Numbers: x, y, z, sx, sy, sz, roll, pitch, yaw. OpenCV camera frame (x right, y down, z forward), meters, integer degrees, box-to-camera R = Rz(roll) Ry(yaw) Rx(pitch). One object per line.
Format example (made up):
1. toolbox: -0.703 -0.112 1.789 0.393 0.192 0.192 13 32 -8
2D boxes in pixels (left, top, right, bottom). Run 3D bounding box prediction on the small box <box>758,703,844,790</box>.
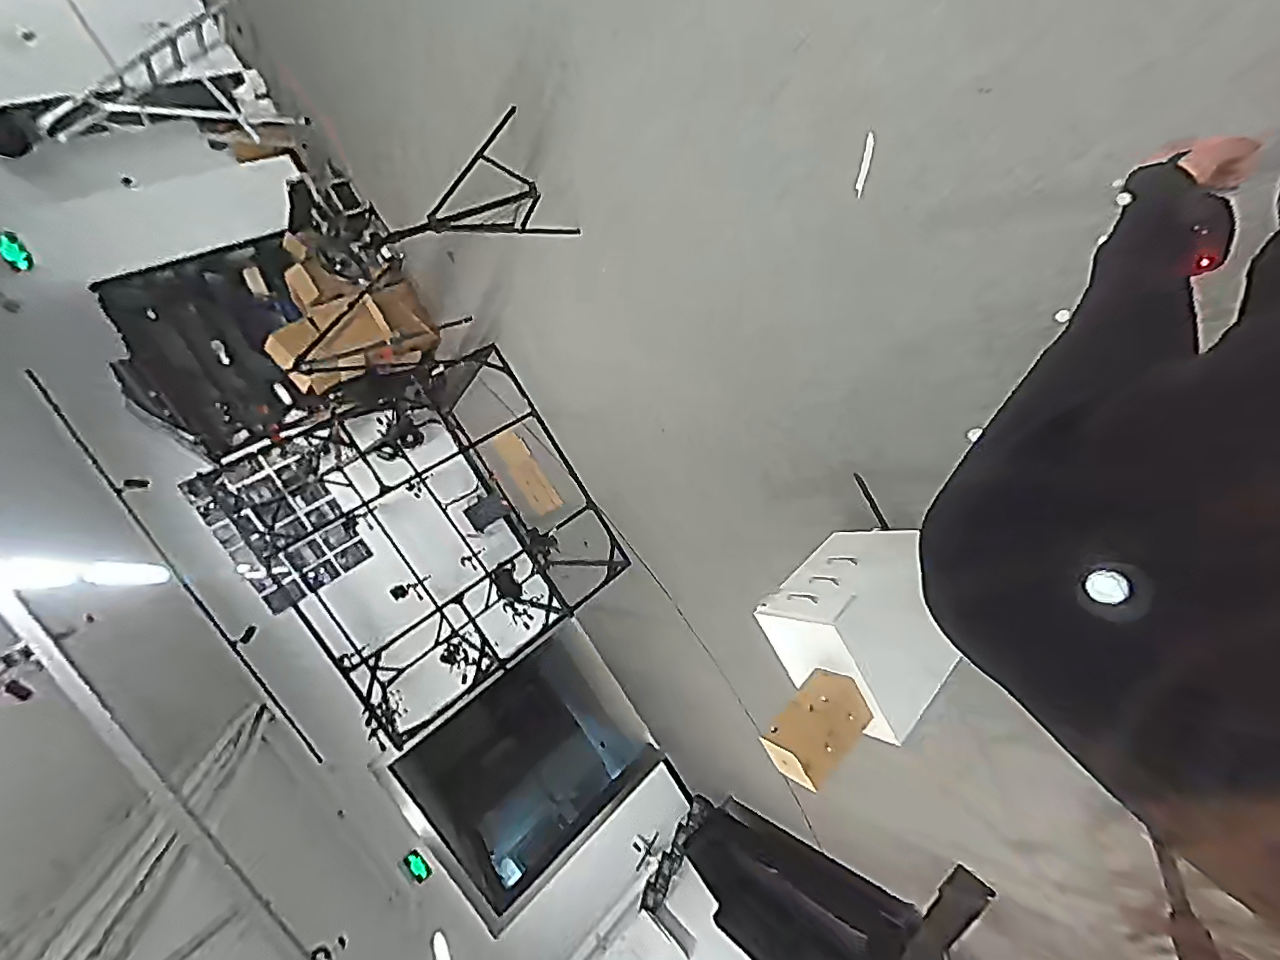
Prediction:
1. small box: 0.532 0.867 1.782 0.168 0.176 0.179 60 153 -12
